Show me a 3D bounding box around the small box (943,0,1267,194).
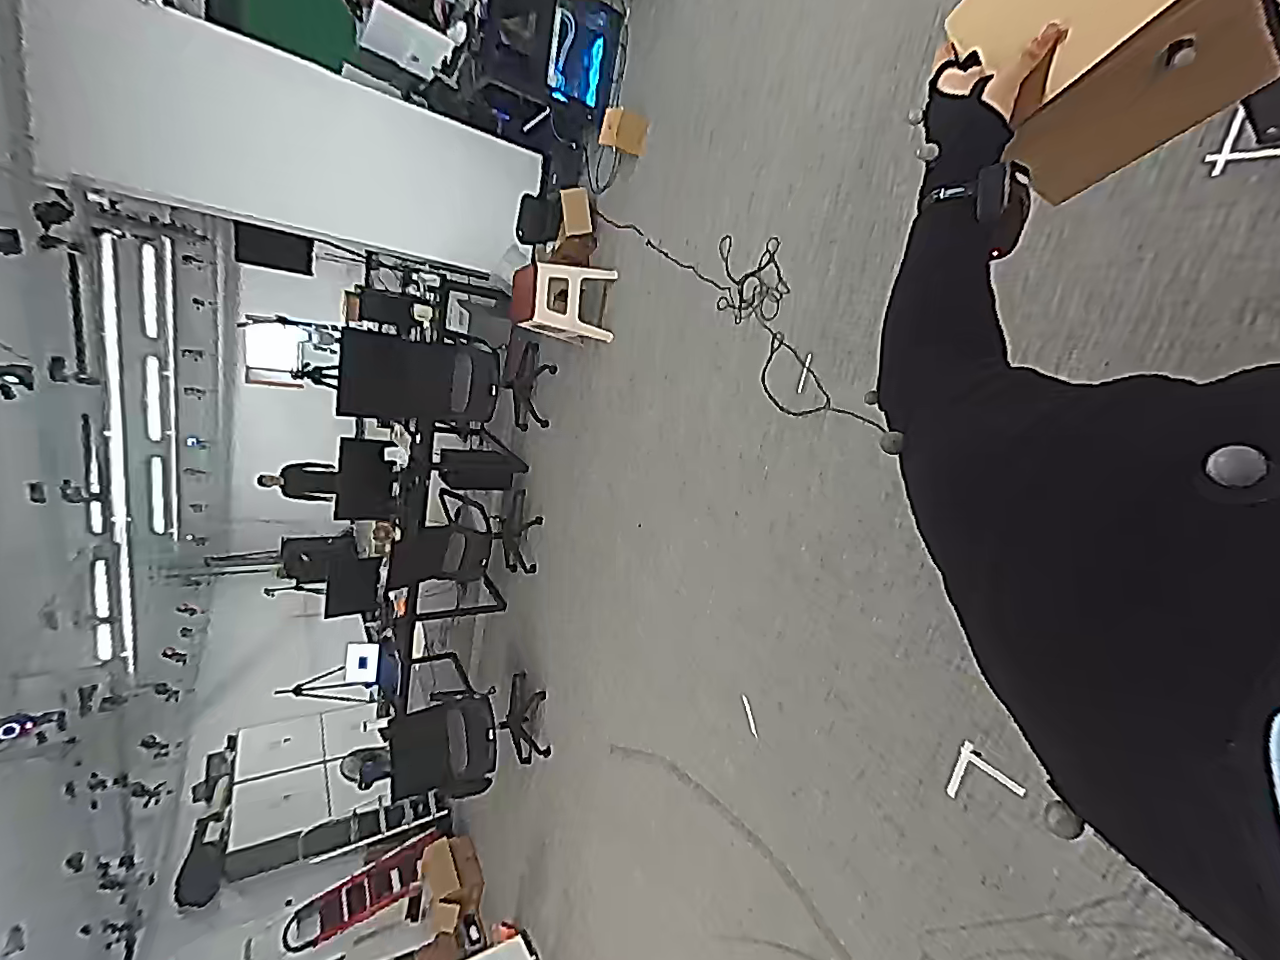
[{"bbox_3d":[0.430,-0.414,0.507,0.179,0.176,0.168,-27,65,53],"label":"small box"}]
